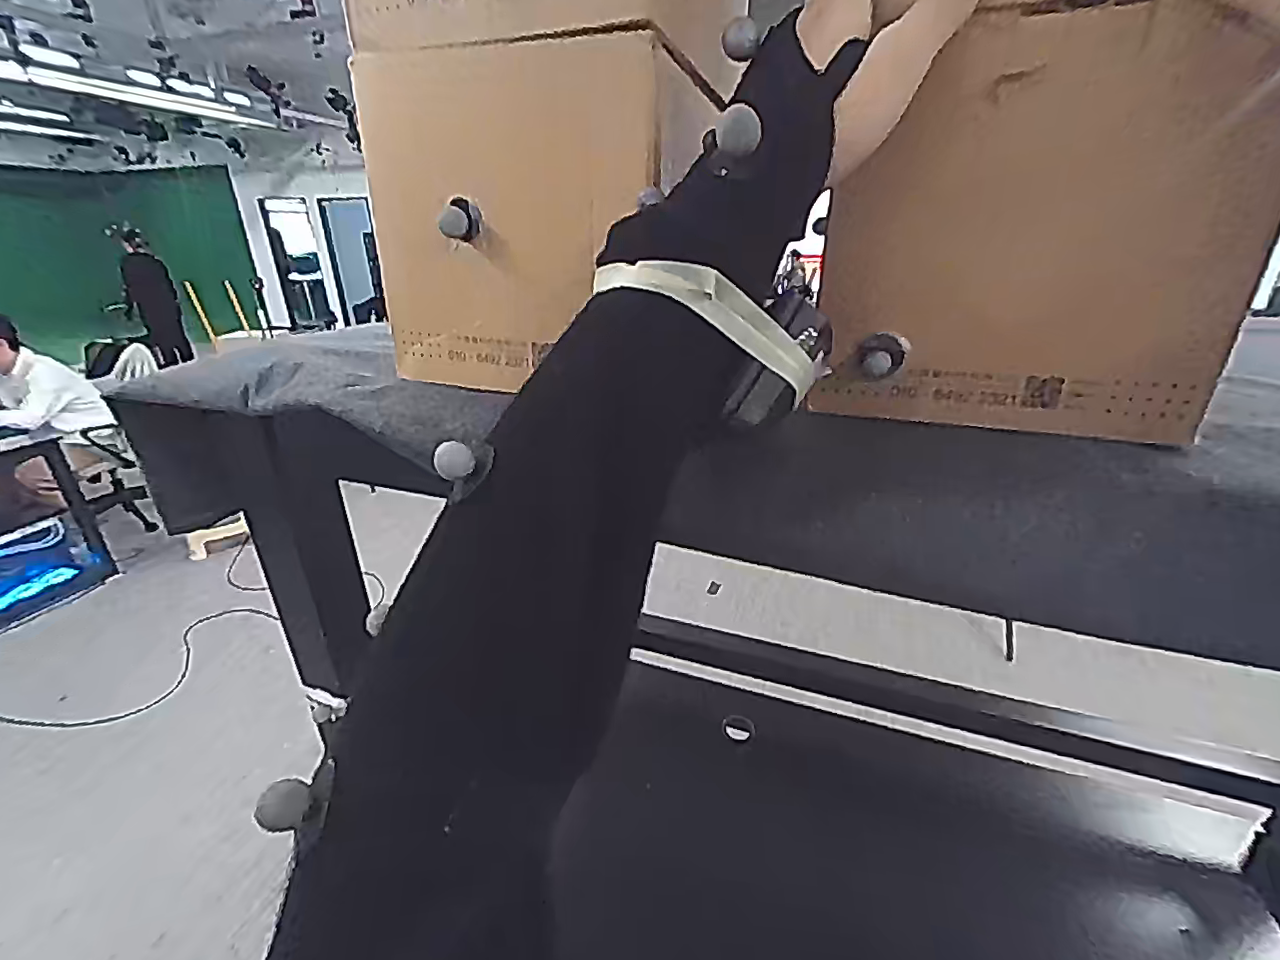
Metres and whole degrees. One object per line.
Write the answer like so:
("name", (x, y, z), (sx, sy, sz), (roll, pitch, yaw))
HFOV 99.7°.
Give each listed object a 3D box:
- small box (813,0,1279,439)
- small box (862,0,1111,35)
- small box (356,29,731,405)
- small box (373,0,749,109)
("small box", (0.196, -0.129, 0.303), (0.168, 0.176, 0.179), (9, 23, 20))
("small box", (0.203, -0.282, 0.241), (0.168, 0.176, 0.179), (12, 26, 23))
("small box", (-0.042, -0.152, 0.353), (0.168, 0.176, 0.179), (9, 23, 17))
("small box", (-0.035, -0.302, 0.290), (0.168, 0.176, 0.179), (9, 24, 20))
